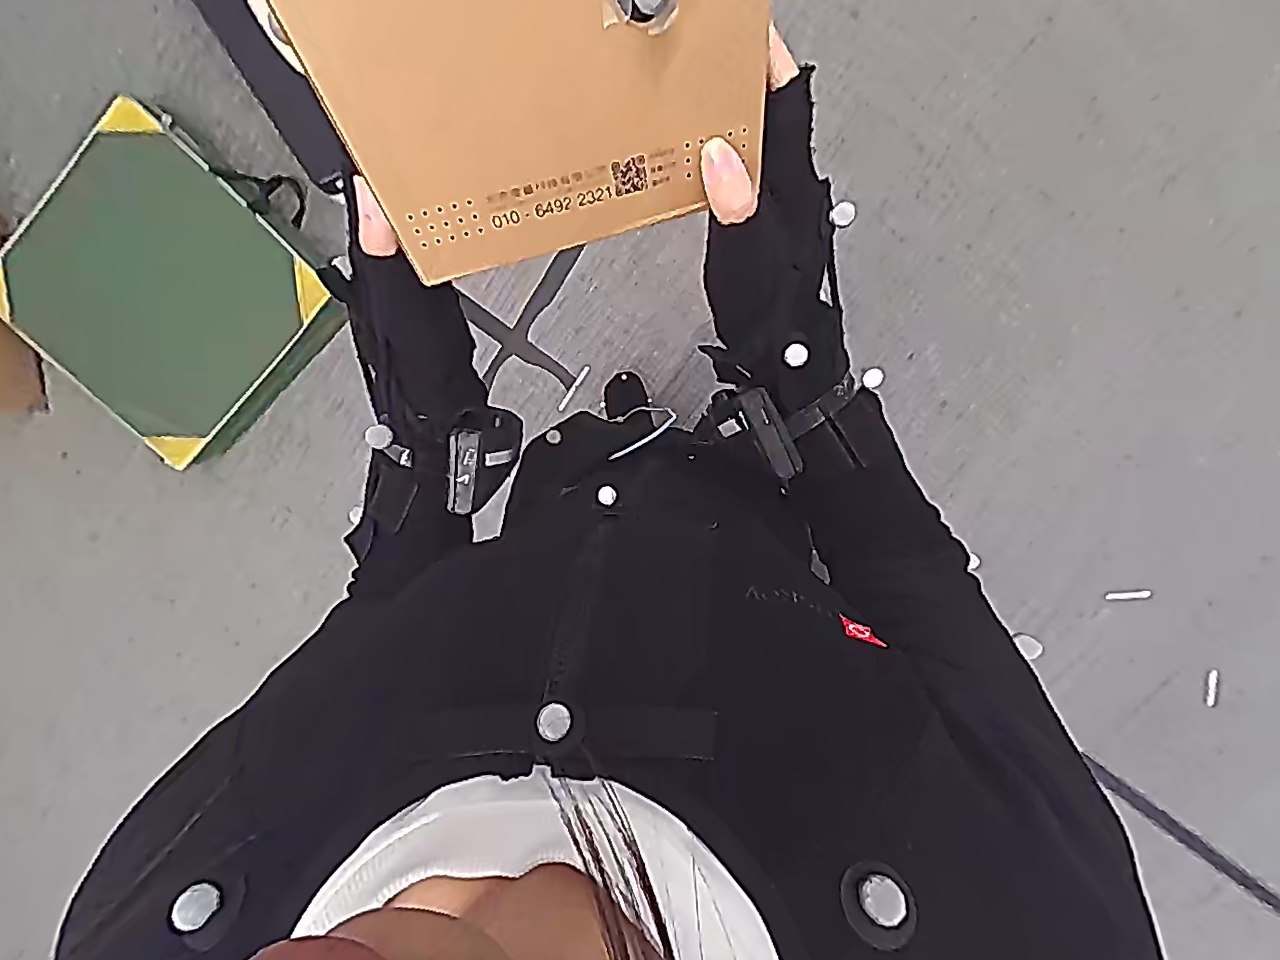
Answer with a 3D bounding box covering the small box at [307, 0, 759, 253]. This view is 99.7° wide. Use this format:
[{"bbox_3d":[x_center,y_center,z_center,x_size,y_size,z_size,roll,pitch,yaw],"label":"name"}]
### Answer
[{"bbox_3d":[-0.046,-0.229,0.251,0.168,0.176,0.179,-14,56,-1],"label":"small box"}]
